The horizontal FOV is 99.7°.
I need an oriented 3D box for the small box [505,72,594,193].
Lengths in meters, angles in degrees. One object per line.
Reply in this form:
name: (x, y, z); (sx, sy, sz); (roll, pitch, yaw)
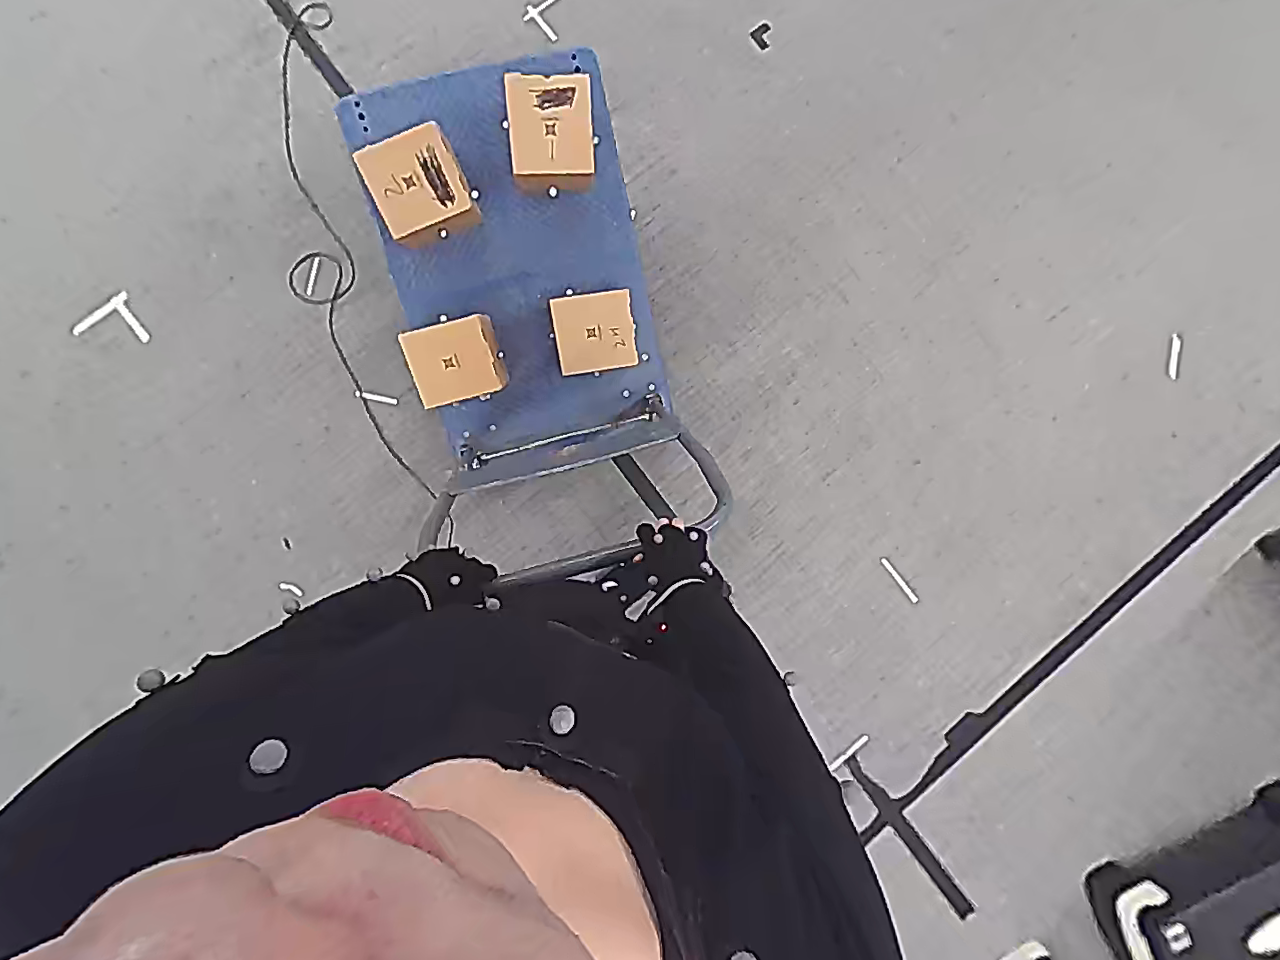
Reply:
small box: (-0.187, -0.722, 1.139); (0.168, 0.176, 0.179); (-4, 107, -6)

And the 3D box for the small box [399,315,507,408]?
small box: (-0.417, -0.273, 1.238); (0.179, 0.176, 0.168); (-17, 107, -5)

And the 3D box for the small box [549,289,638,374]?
small box: (-0.108, -0.344, 1.259); (0.179, 0.176, 0.168); (-10, 108, -5)
